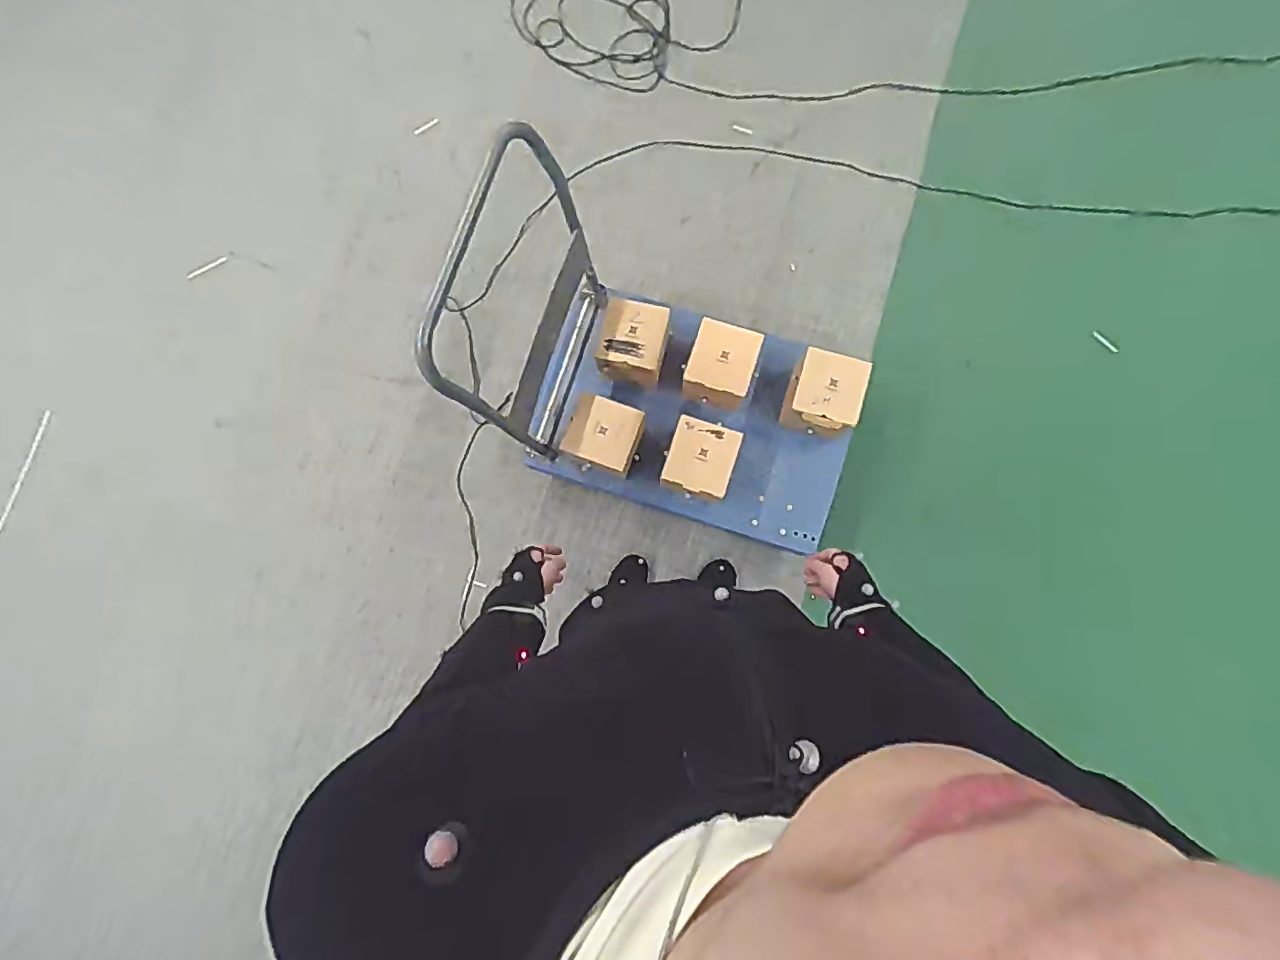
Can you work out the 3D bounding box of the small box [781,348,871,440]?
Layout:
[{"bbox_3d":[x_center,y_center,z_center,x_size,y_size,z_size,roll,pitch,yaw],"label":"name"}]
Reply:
[{"bbox_3d":[0.486,-0.222,1.439,0.168,0.176,0.179,17,84,5],"label":"small box"}]

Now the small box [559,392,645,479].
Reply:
[{"bbox_3d":[-0.094,-0.111,1.446,0.179,0.176,0.168,20,84,4],"label":"small box"}]

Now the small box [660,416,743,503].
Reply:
[{"bbox_3d":[0.158,-0.046,1.427,0.168,0.176,0.179,19,84,4],"label":"small box"}]

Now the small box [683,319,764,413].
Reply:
[{"bbox_3d":[0.219,-0.302,1.463,0.168,0.176,0.179,18,85,4],"label":"small box"}]
